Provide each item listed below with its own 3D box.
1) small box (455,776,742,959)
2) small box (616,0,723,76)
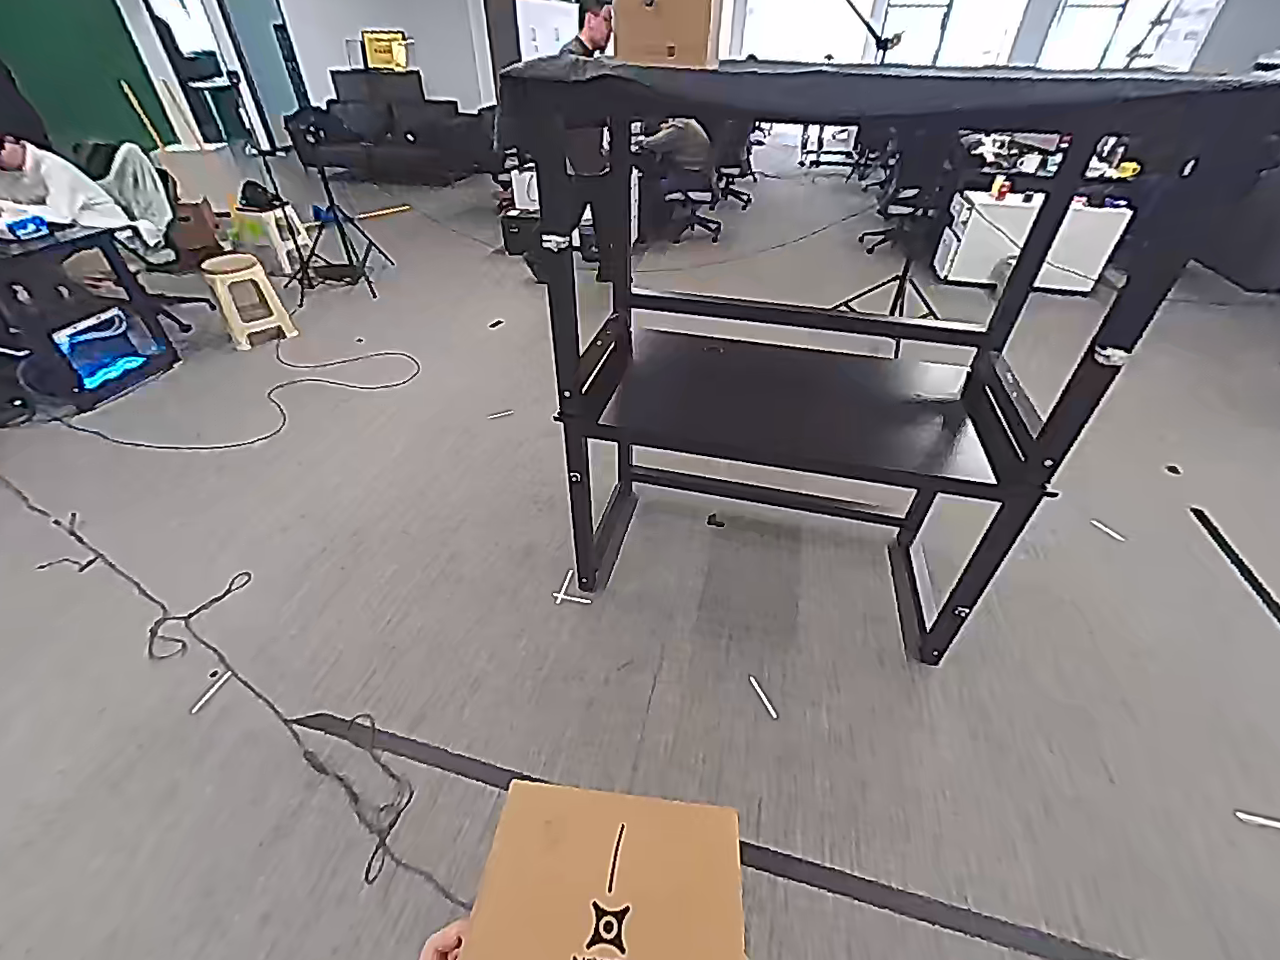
[{"bbox_3d":[-0.024,0.336,0.358,0.168,0.176,0.179,5,32,4],"label":"small box"},{"bbox_3d":[0.056,-0.824,0.957,0.168,0.176,0.179,10,38,9],"label":"small box"}]
